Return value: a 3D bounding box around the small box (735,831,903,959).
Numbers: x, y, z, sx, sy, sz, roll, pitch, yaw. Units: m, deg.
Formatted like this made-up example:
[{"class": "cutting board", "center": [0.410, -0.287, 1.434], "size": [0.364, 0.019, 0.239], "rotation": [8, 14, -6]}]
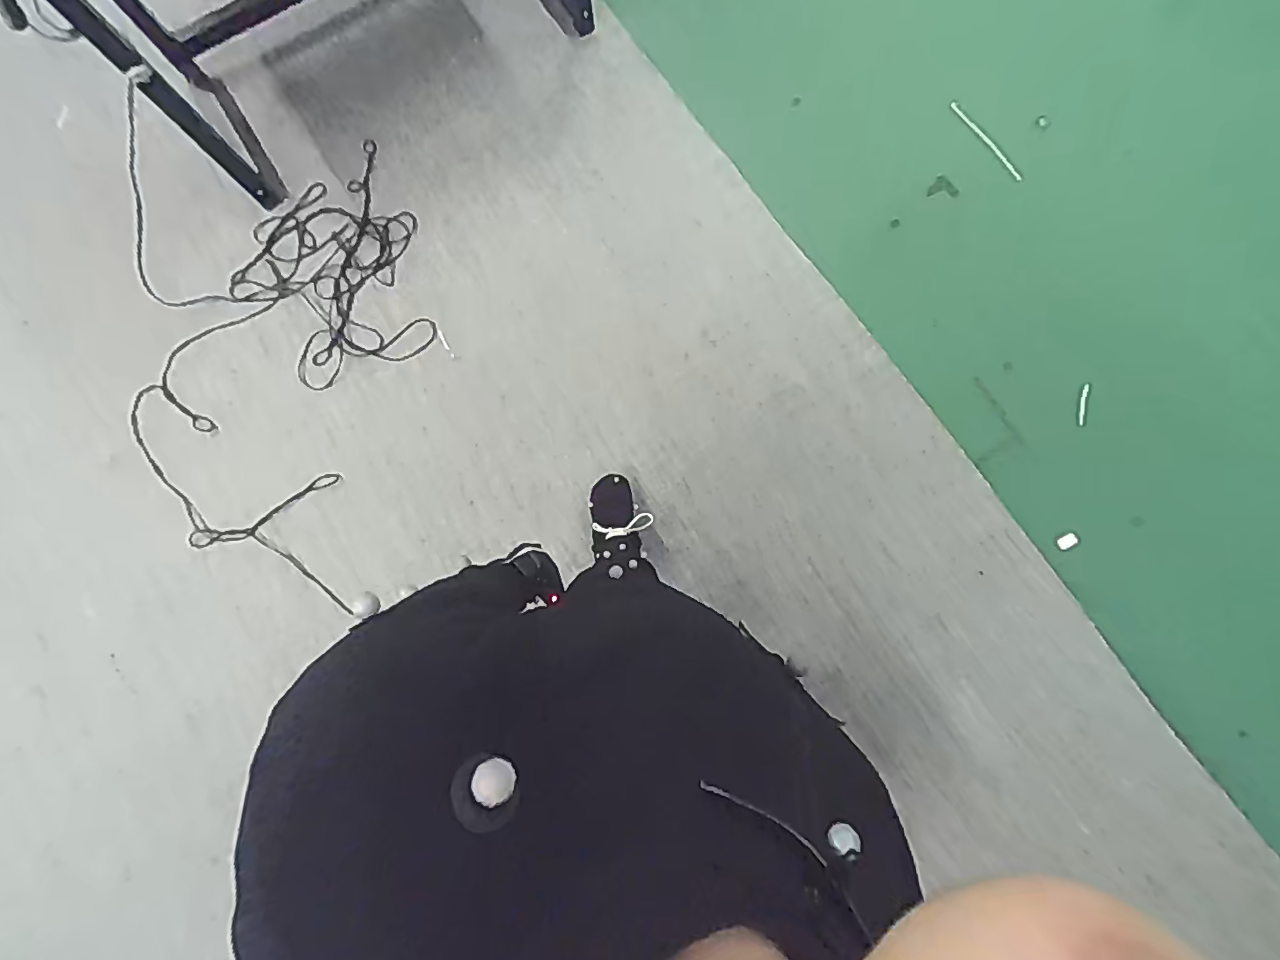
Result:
[{"class": "small box", "center": [0.244, 0.618, 0.716], "size": [0.168, 0.176, 0.179], "rotation": [-28, 79, -3]}]
